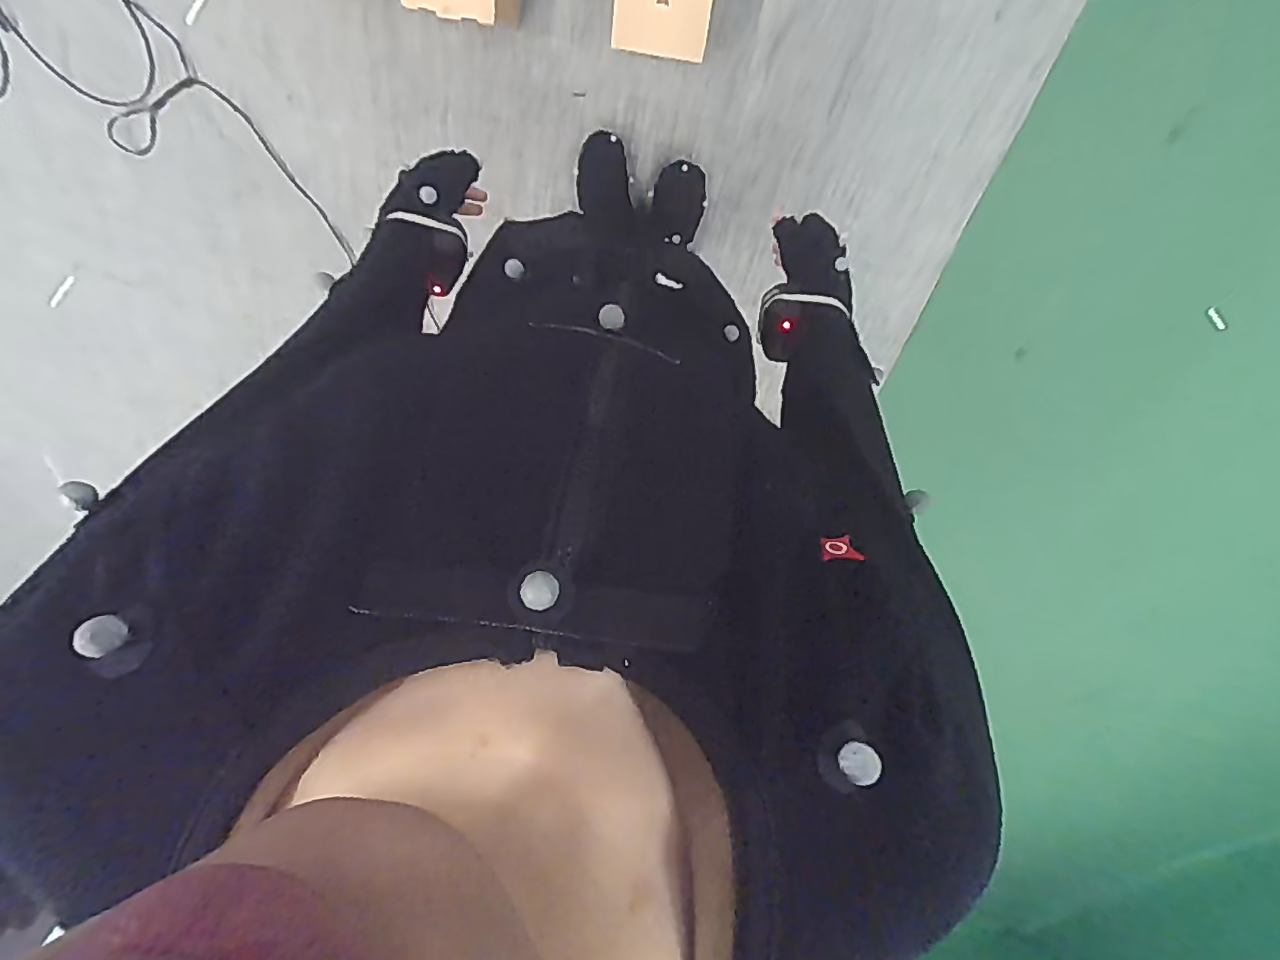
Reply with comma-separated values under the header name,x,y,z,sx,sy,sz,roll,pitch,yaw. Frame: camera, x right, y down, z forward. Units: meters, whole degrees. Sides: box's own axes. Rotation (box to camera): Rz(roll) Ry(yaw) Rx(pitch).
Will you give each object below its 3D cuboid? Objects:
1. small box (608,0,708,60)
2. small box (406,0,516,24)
name,x,y,z,sx,sy,sz,roll,pitch,yaw
small box,0.040,-0.869,0.960,0.168,0.176,0.179,8,128,-3
small box,-0.315,-0.926,0.942,0.168,0.176,0.179,10,128,-3
